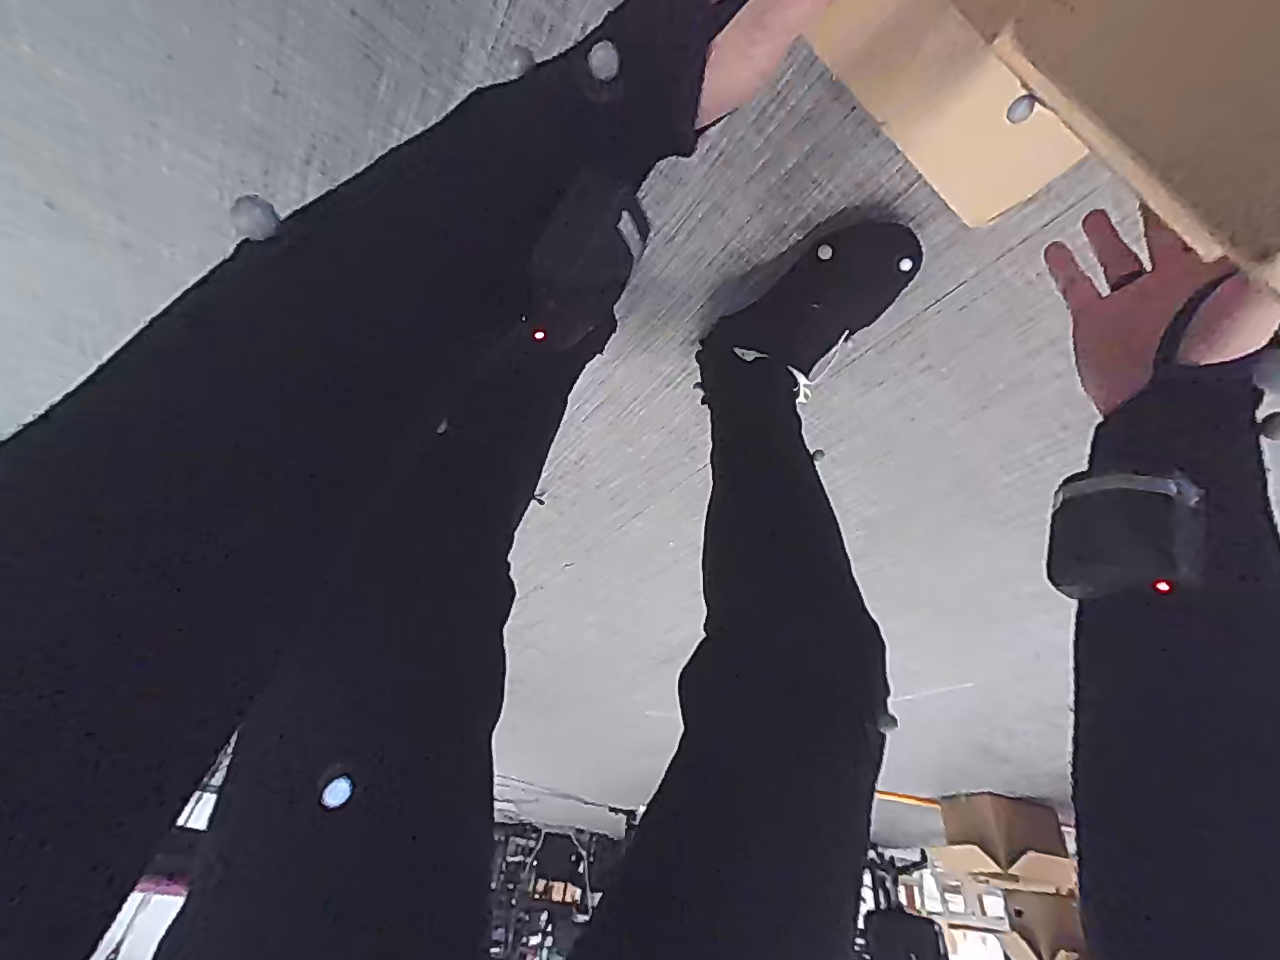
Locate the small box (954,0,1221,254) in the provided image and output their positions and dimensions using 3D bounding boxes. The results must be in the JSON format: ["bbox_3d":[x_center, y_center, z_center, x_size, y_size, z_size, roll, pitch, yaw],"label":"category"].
[{"bbox_3d":[0.254,-0.243,0.220,0.168,0.176,0.179,24,140,-19],"label":"small box"}]

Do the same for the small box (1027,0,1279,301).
[{"bbox_3d":[0.237,-0.119,0.114,0.168,0.176,0.179,23,140,-18],"label":"small box"}]
